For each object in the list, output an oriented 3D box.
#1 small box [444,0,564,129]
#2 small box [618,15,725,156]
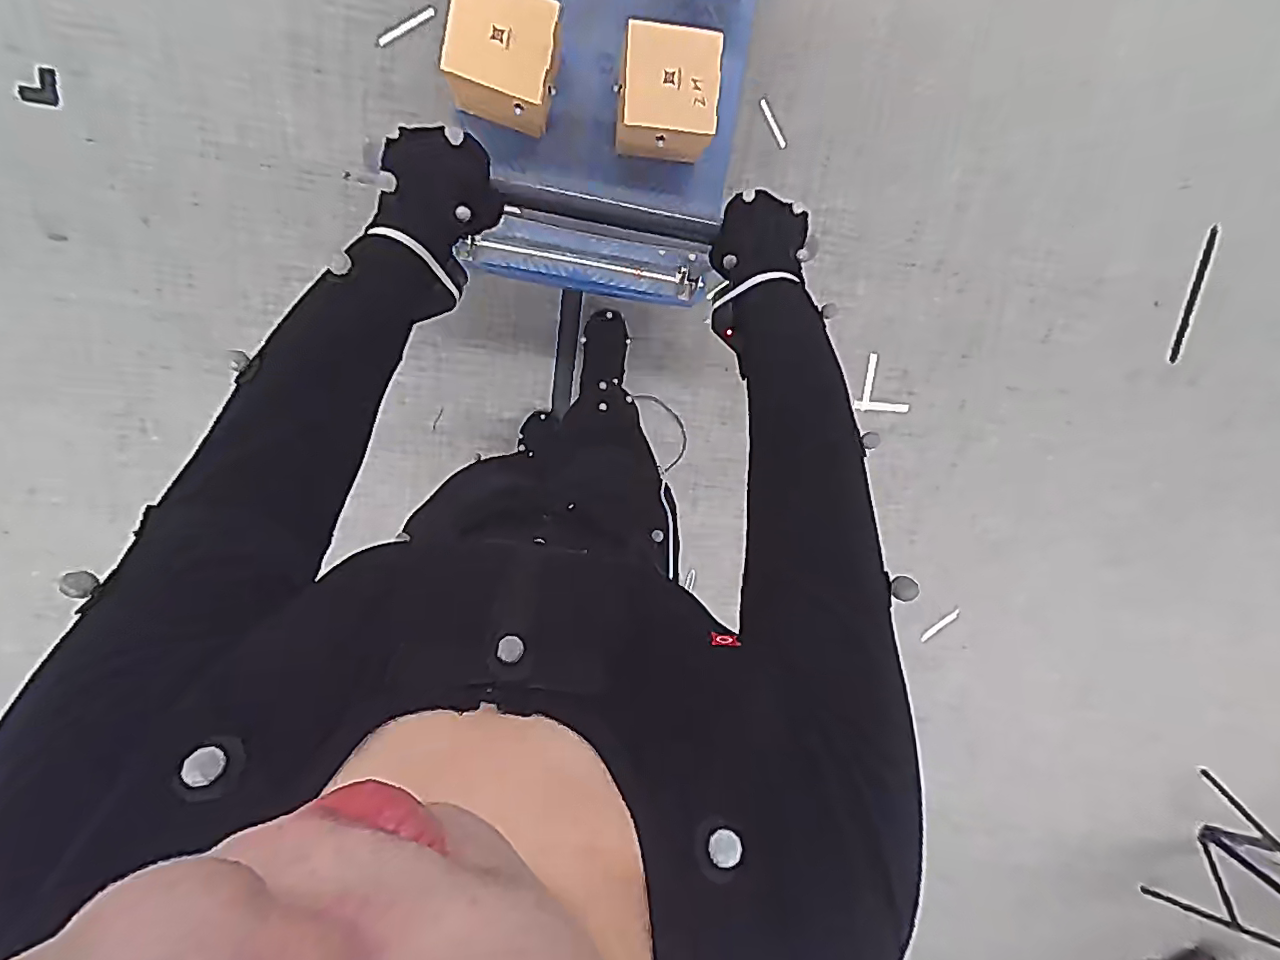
[{"bbox_3d":[-0.246,-0.788,1.001,0.179,0.176,0.168,13,102,-13],"label":"small box"},{"bbox_3d":[0.052,-0.755,1.055,0.179,0.176,0.168,1,105,-9],"label":"small box"}]
